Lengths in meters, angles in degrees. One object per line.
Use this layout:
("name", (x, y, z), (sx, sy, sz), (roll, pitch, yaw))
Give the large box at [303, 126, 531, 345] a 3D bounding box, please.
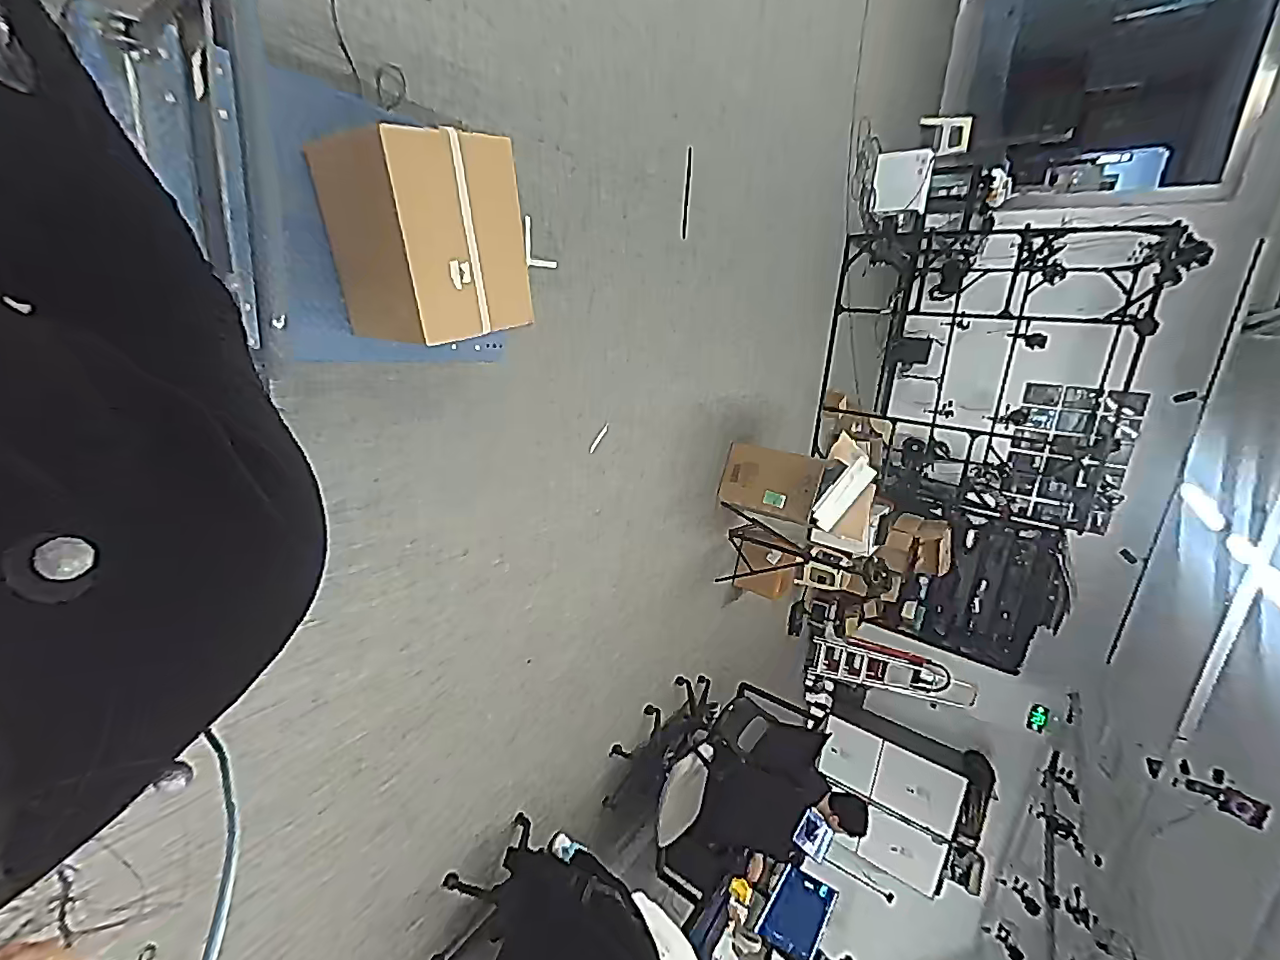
("large box", (-0.493, -0.553, 1.244), (0.320, 0.320, 0.408), (-31, 128, -45))
